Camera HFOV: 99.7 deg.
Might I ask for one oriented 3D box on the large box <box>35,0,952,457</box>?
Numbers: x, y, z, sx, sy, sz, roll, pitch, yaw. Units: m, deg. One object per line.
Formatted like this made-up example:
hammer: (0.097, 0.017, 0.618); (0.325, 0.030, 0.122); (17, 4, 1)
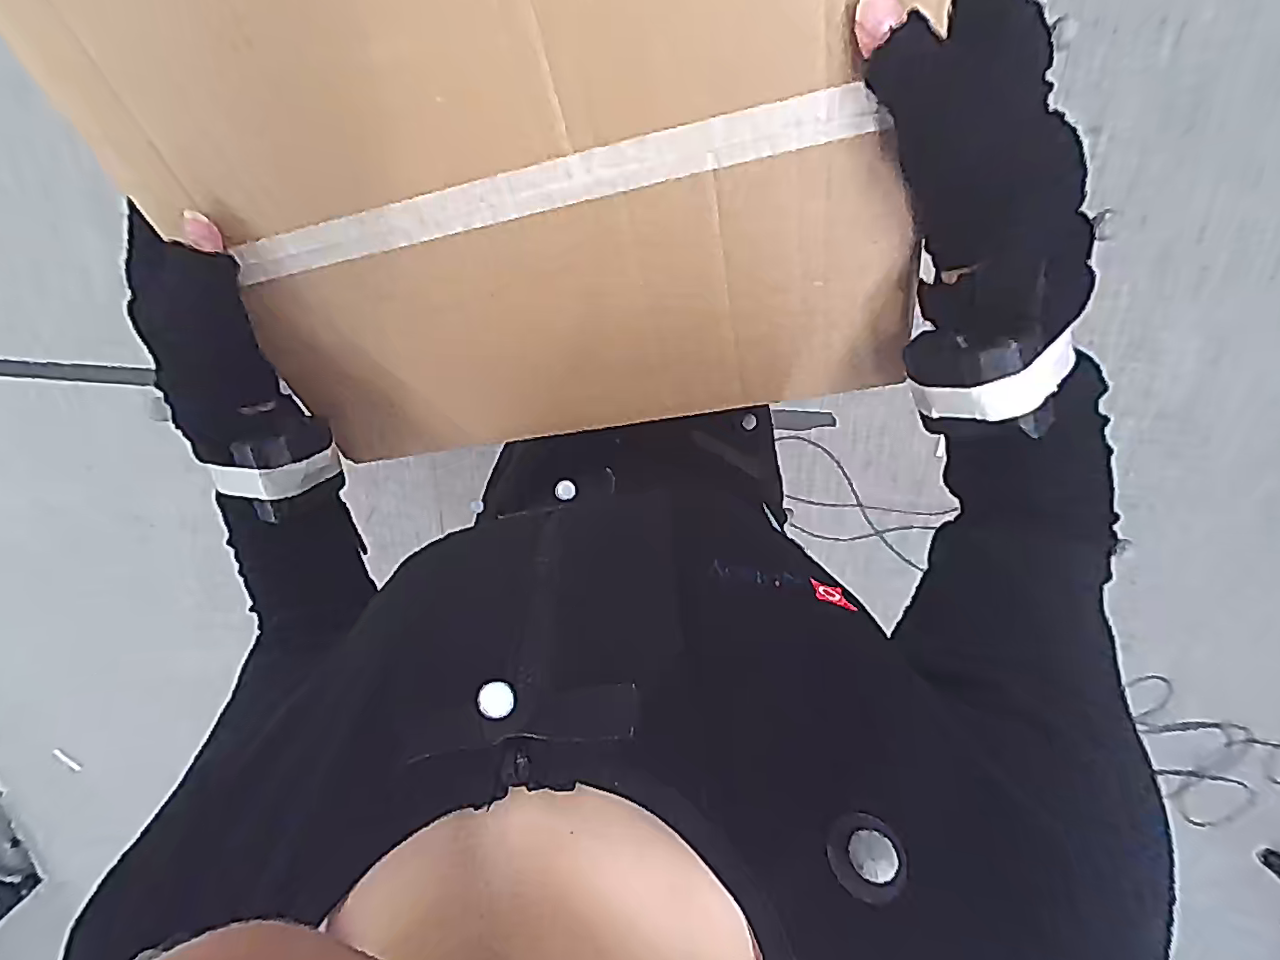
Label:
large box: (-0.046, -0.252, 0.397); (0.408, 0.320, 0.320); (-7, 133, 12)
